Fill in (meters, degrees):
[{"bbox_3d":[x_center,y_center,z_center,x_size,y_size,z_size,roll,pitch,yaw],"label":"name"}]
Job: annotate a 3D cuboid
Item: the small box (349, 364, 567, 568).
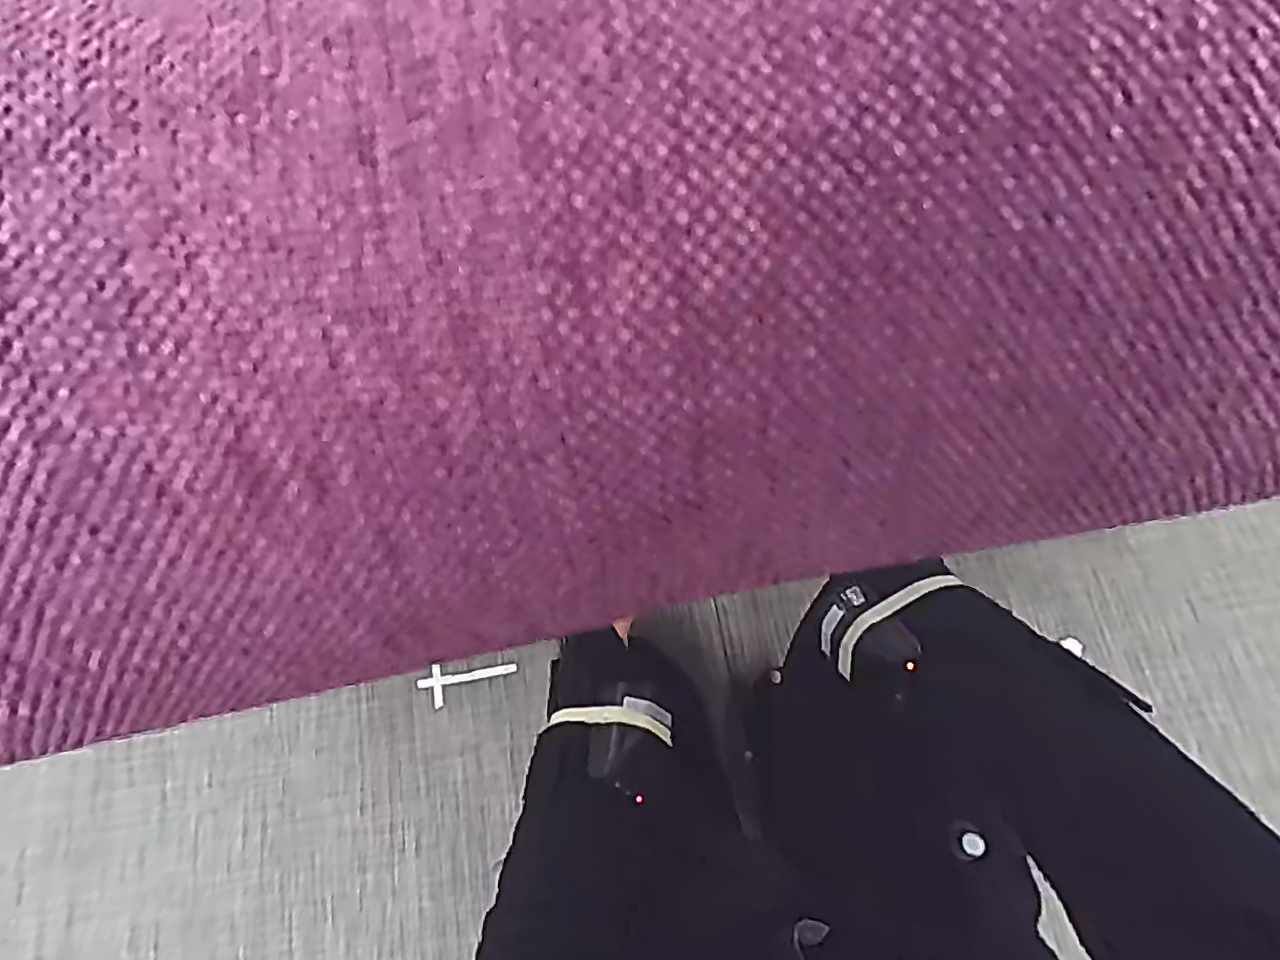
[{"bbox_3d":[-0.184,-0.003,0.596,0.179,0.176,0.168,-14,78,-2],"label":"small box"}]
